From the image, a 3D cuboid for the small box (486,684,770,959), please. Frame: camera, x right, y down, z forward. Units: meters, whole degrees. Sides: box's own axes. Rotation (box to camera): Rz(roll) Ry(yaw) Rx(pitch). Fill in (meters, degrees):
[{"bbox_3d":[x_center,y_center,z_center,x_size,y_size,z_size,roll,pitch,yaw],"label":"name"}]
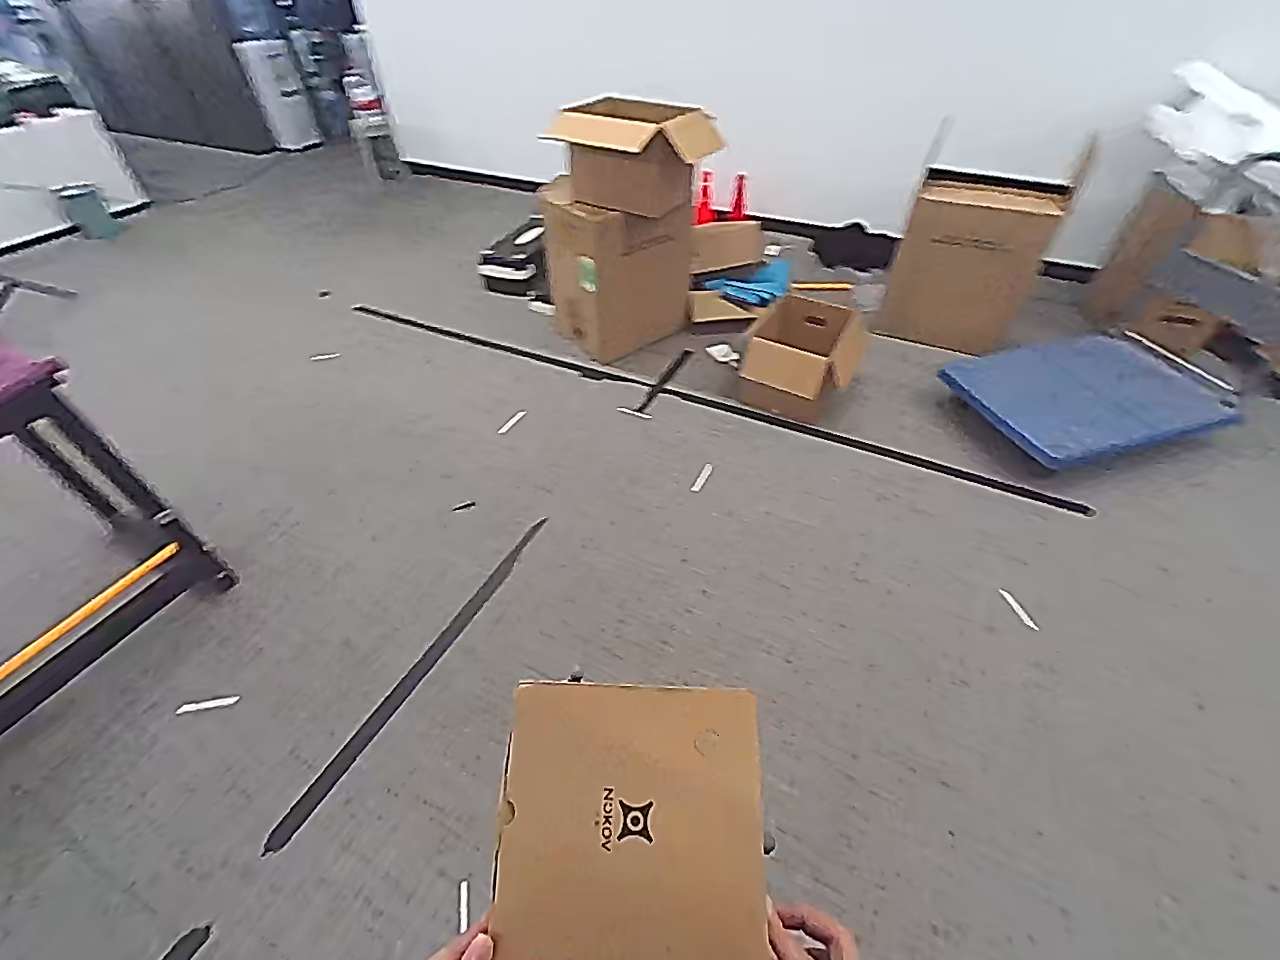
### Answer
[{"bbox_3d":[-0.001,0.253,0.430,0.179,0.176,0.168,-2,67,5],"label":"small box"}]
